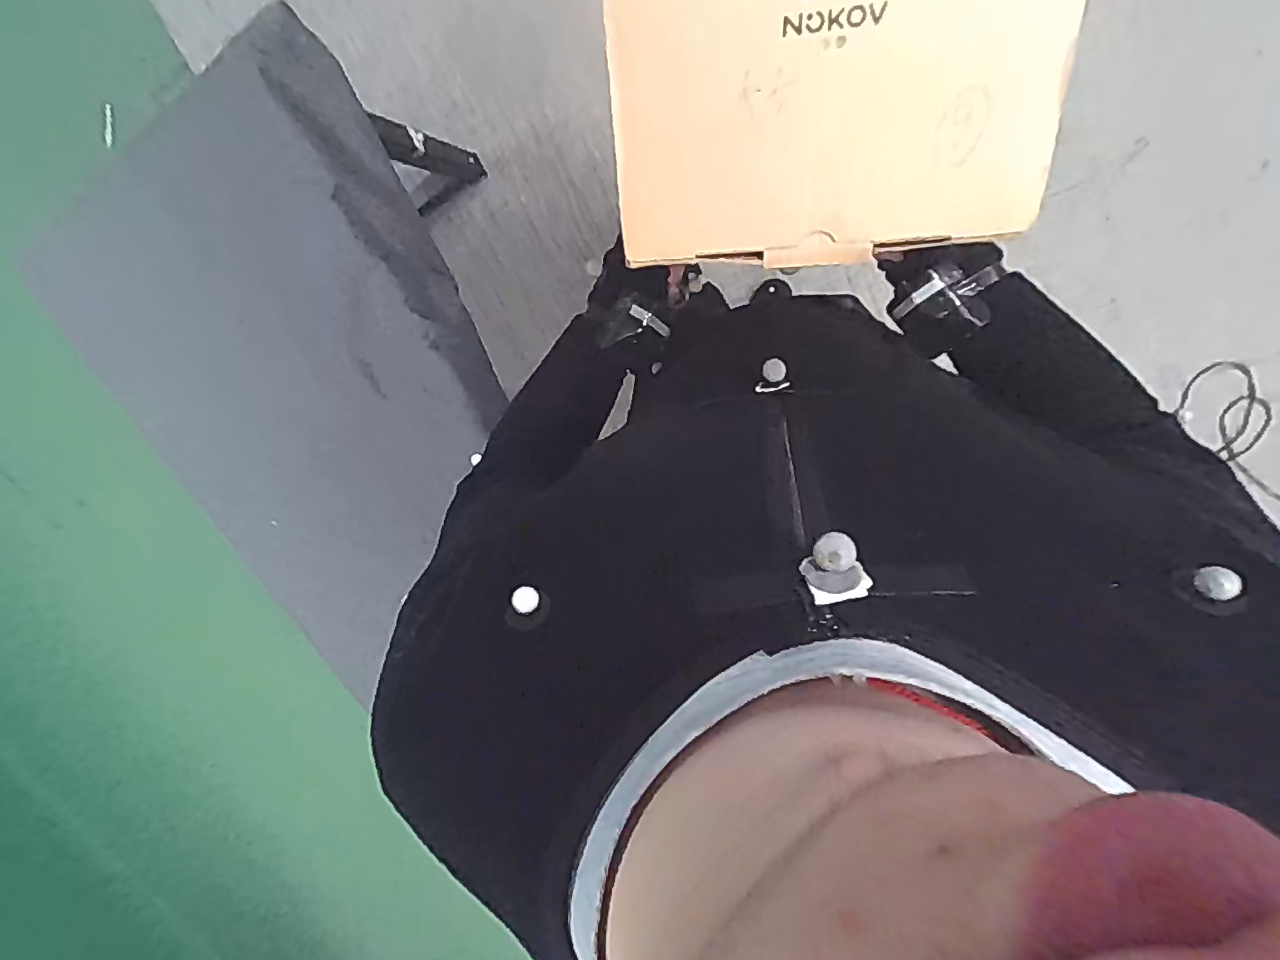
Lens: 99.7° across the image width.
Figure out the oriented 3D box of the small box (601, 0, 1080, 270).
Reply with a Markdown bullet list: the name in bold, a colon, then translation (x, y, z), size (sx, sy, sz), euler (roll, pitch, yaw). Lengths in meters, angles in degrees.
- **small box**: translation (0.077, -0.208, 0.258), size (0.168, 0.176, 0.179), euler (0, 118, 8)
